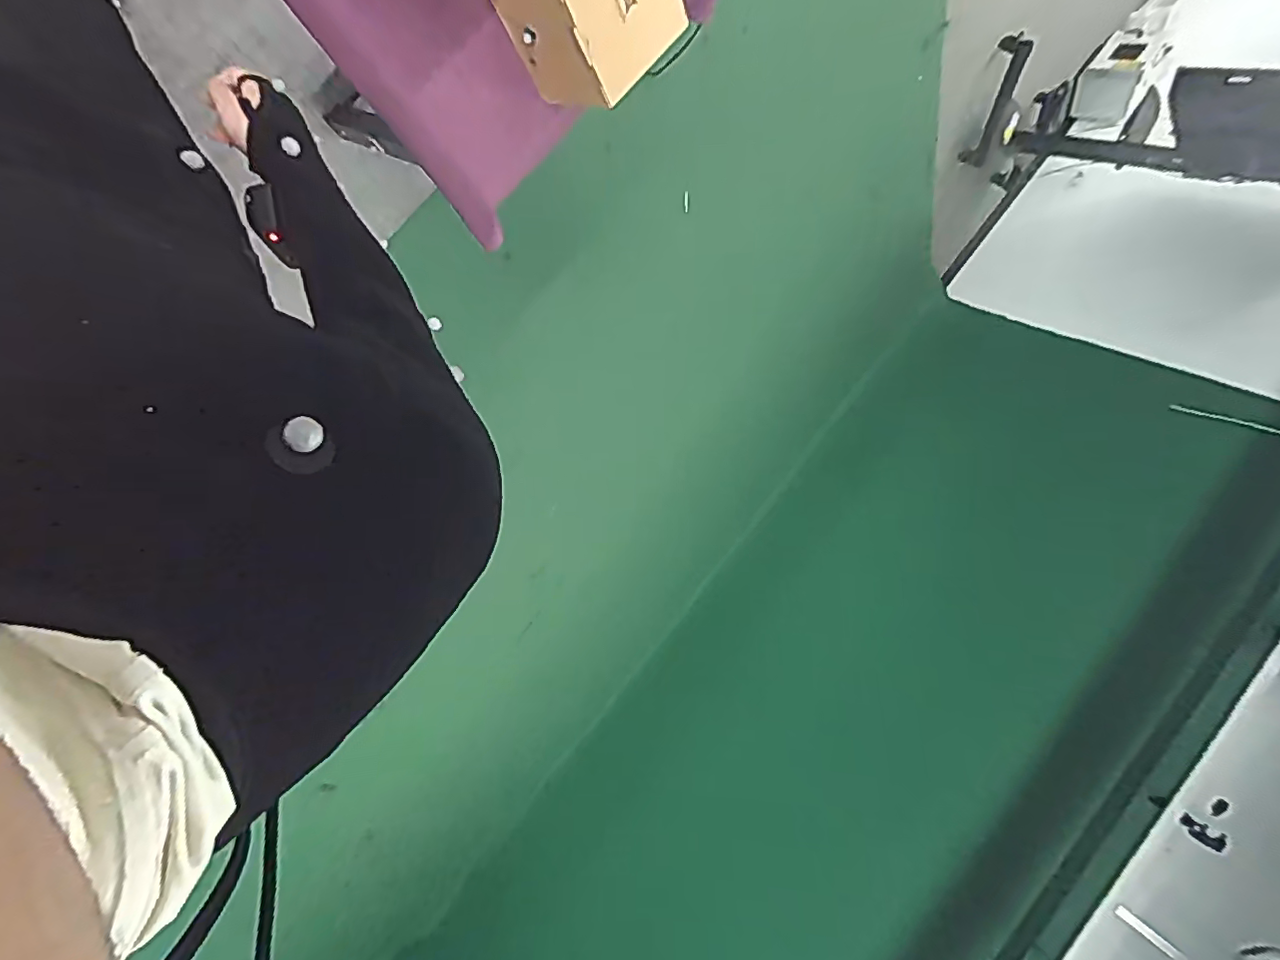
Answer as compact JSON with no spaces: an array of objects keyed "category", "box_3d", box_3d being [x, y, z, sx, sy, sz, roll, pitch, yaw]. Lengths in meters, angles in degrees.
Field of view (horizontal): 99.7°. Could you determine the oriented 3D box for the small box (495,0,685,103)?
[{"category":"small box","box_3d":[-0.073,-0.666,0.744,0.179,0.176,0.168,-49,145,-5]}]
